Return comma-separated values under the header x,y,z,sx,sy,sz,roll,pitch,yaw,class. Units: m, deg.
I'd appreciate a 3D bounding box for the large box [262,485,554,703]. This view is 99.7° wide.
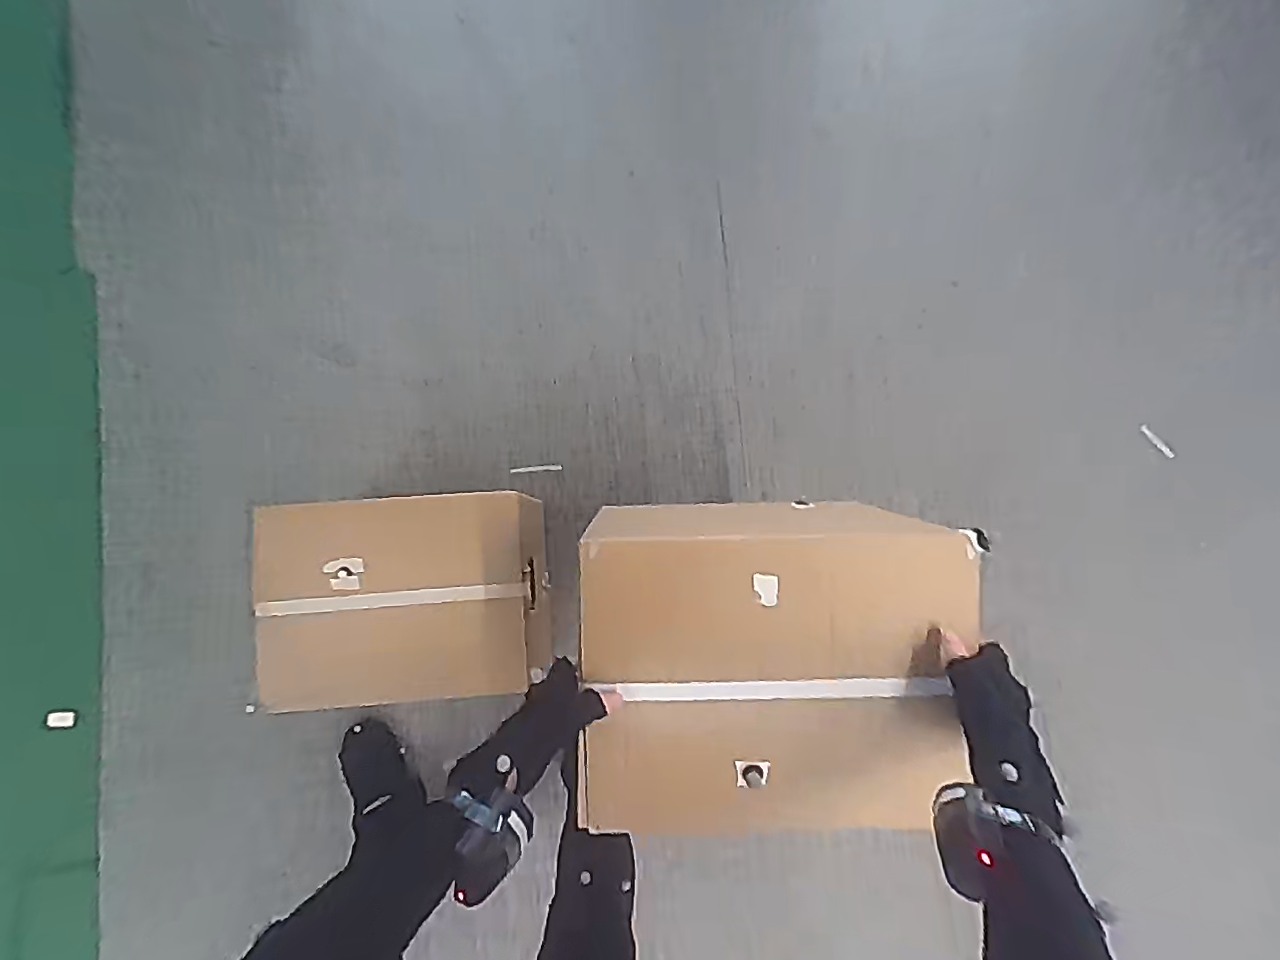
x,y,z,sx,sy,sz,roll,pitch,yaw,class
-0.381,0.182,0.981,0.408,0.320,0.320,-3,86,-2,large box
